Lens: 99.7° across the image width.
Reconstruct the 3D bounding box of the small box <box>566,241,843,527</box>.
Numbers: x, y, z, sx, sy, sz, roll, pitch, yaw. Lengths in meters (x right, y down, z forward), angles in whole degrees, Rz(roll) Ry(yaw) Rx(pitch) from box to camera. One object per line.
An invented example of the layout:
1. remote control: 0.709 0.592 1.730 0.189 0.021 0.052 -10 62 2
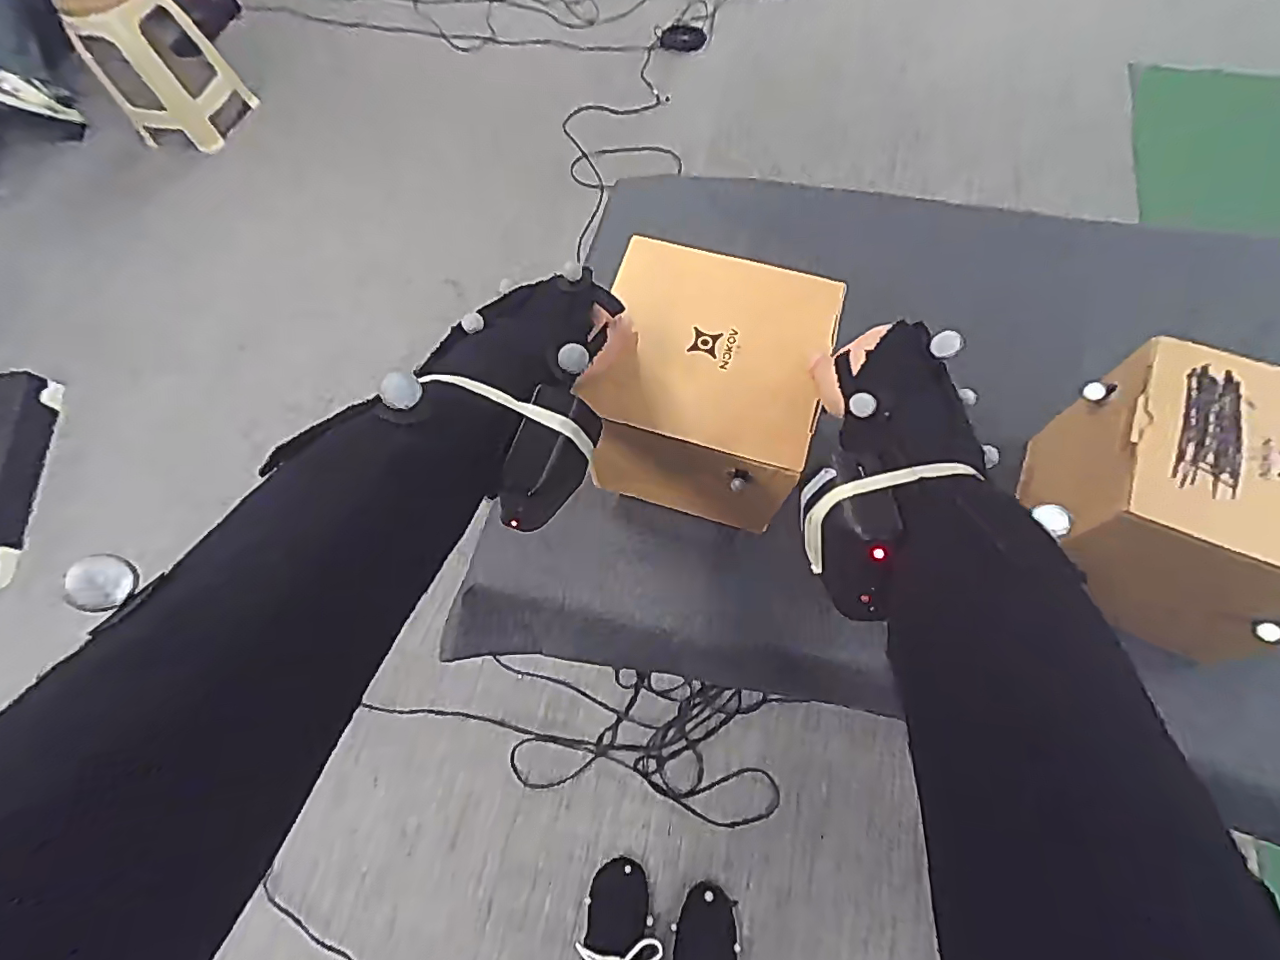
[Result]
1. small box: 0.053 -0.072 0.476 0.179 0.176 0.168 16 71 7
